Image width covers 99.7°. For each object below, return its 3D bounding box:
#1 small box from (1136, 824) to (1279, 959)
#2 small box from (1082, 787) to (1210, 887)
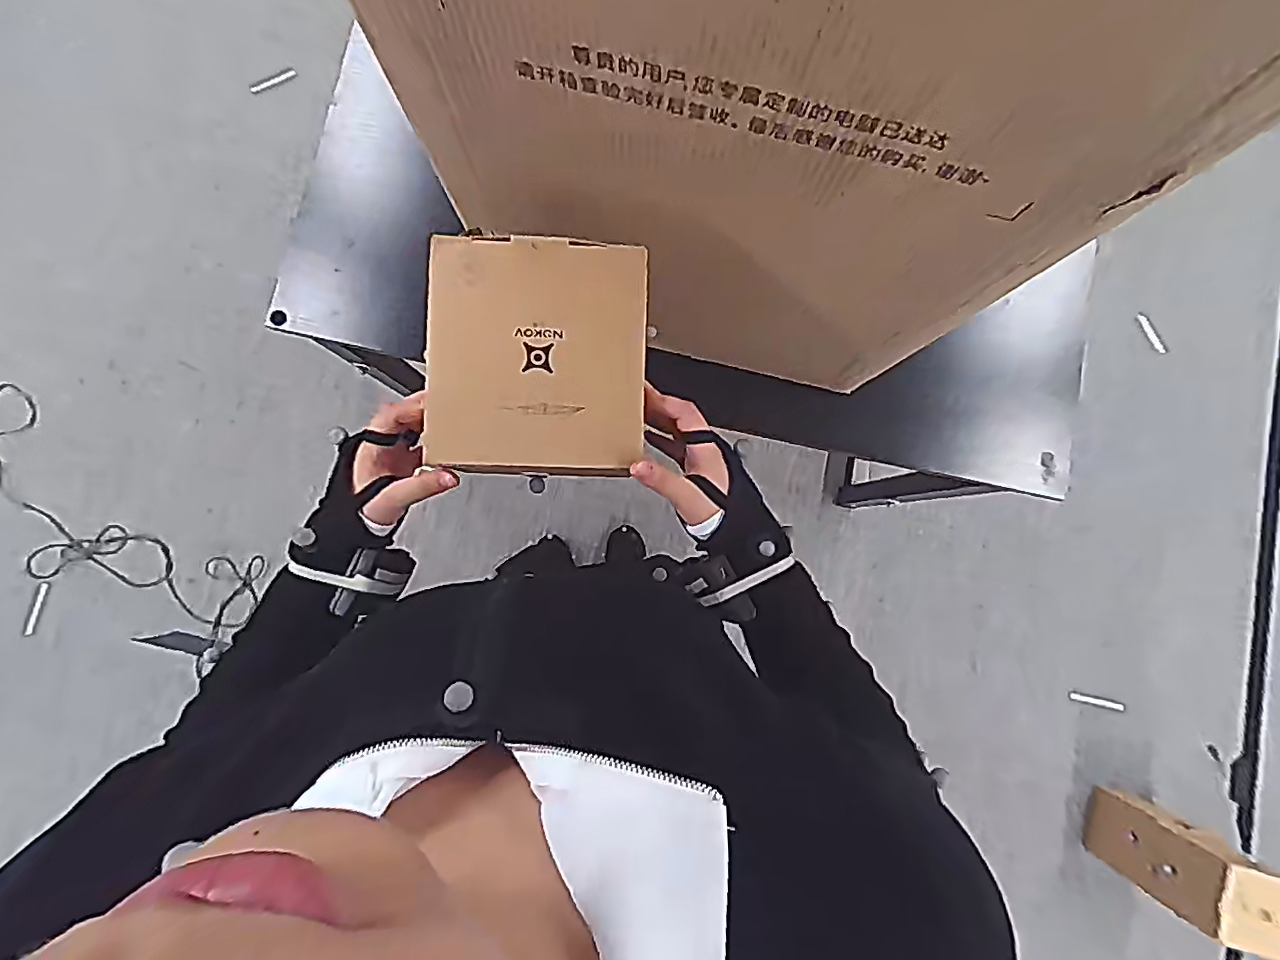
[{"bbox_3d":[1.306,0.925,1.234,0.179,0.176,0.168,16,84,0],"label":"small box"},{"bbox_3d":[1.297,0.932,1.398,0.168,0.176,0.179,17,85,0],"label":"small box"}]
